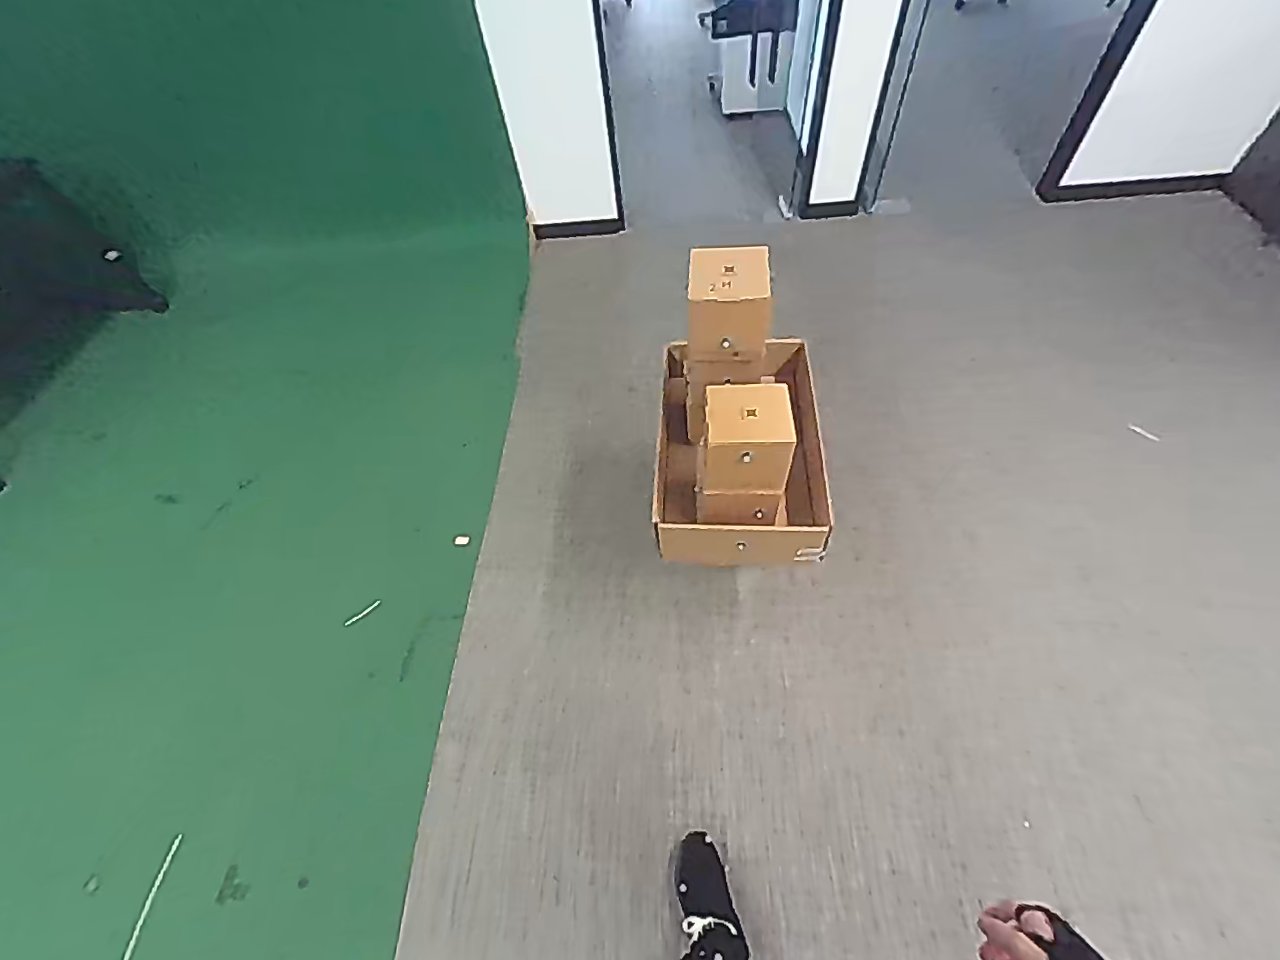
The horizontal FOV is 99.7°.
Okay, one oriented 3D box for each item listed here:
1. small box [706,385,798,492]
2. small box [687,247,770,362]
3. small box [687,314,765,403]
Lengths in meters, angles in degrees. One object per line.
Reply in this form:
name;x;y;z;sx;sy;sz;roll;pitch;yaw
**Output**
small box;0.233;-0.086;1.169;0.179;0.176;0.168;-2;54;6
small box;0.191;-0.380;1.176;0.168;0.176;0.179;1;57;8
small box;0.206;-0.302;1.322;0.168;0.176;0.179;-4;56;3
